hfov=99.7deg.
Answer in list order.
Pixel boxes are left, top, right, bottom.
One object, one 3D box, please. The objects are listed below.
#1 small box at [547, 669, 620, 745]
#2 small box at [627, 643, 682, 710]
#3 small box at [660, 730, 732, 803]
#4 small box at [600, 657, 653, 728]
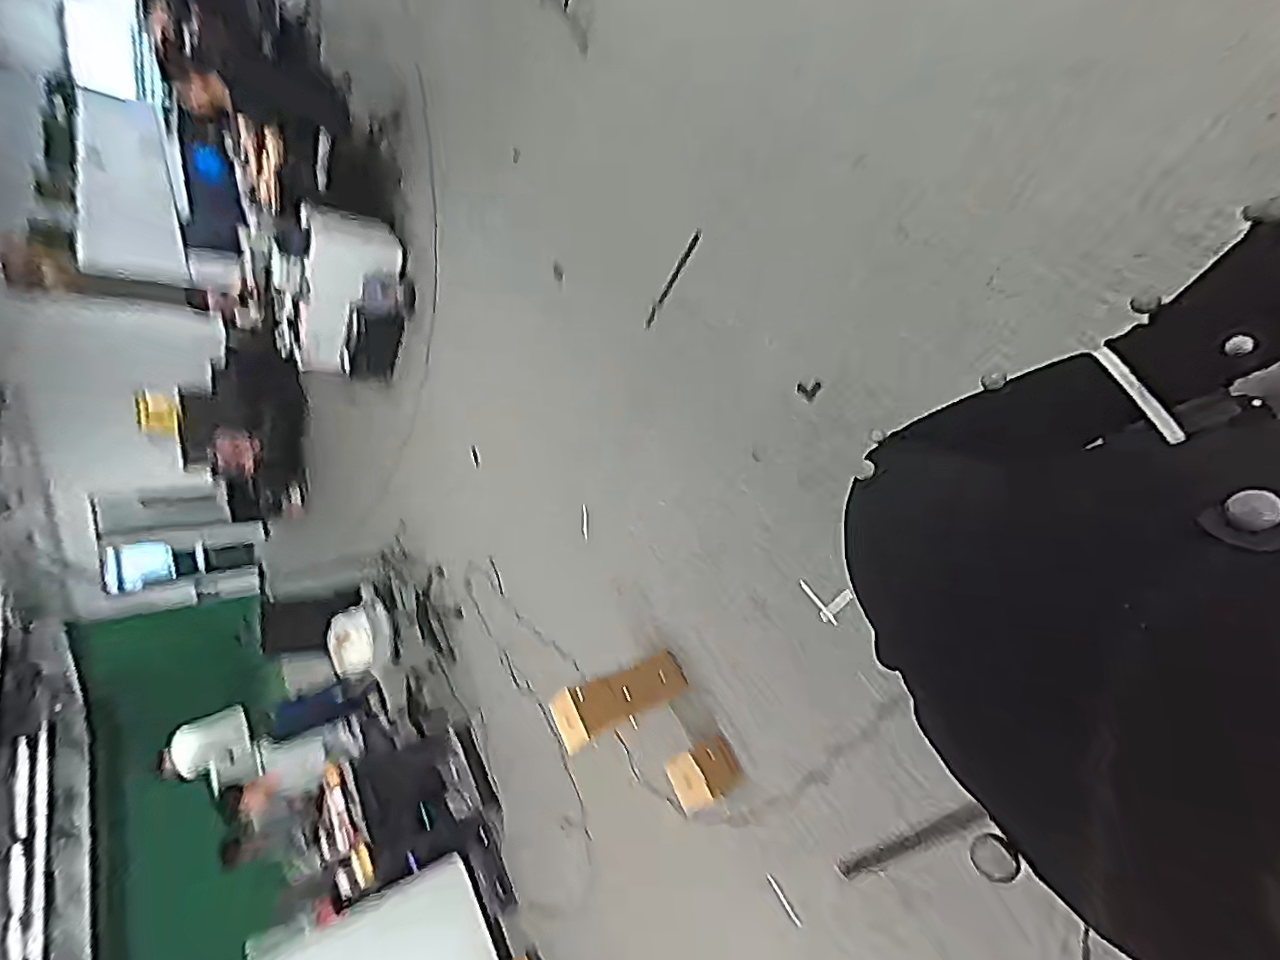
[{"bbox_3d":[-0.200,0.806,1.929,0.168,0.176,0.179,-54,56,36],"label":"small box"},{"bbox_3d":[0.036,0.780,2.156,0.168,0.176,0.179,-53,57,35],"label":"small box"},{"bbox_3d":[0.214,1.051,1.992,0.179,0.176,0.168,-50,58,38],"label":"small box"},{"bbox_3d":[-0.079,0.797,2.038,0.168,0.176,0.179,-51,58,37],"label":"small box"}]
